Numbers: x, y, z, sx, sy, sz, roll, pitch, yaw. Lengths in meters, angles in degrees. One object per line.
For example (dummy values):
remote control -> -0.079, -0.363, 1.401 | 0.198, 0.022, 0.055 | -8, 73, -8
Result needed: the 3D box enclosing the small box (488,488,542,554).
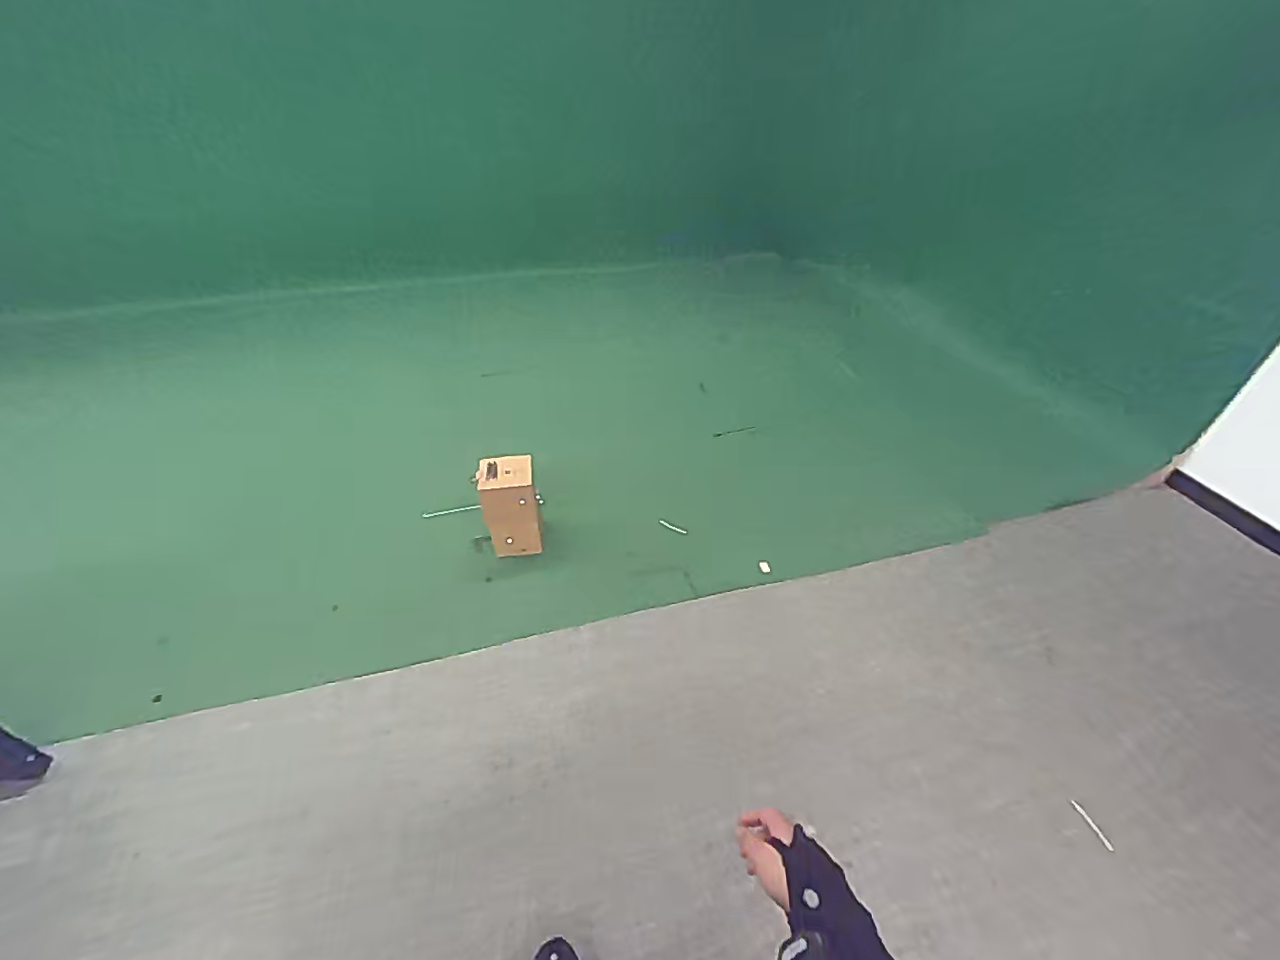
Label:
small box -> -0.447, 0.154, 1.961 | 0.168, 0.176, 0.179 | -4, 41, -6
